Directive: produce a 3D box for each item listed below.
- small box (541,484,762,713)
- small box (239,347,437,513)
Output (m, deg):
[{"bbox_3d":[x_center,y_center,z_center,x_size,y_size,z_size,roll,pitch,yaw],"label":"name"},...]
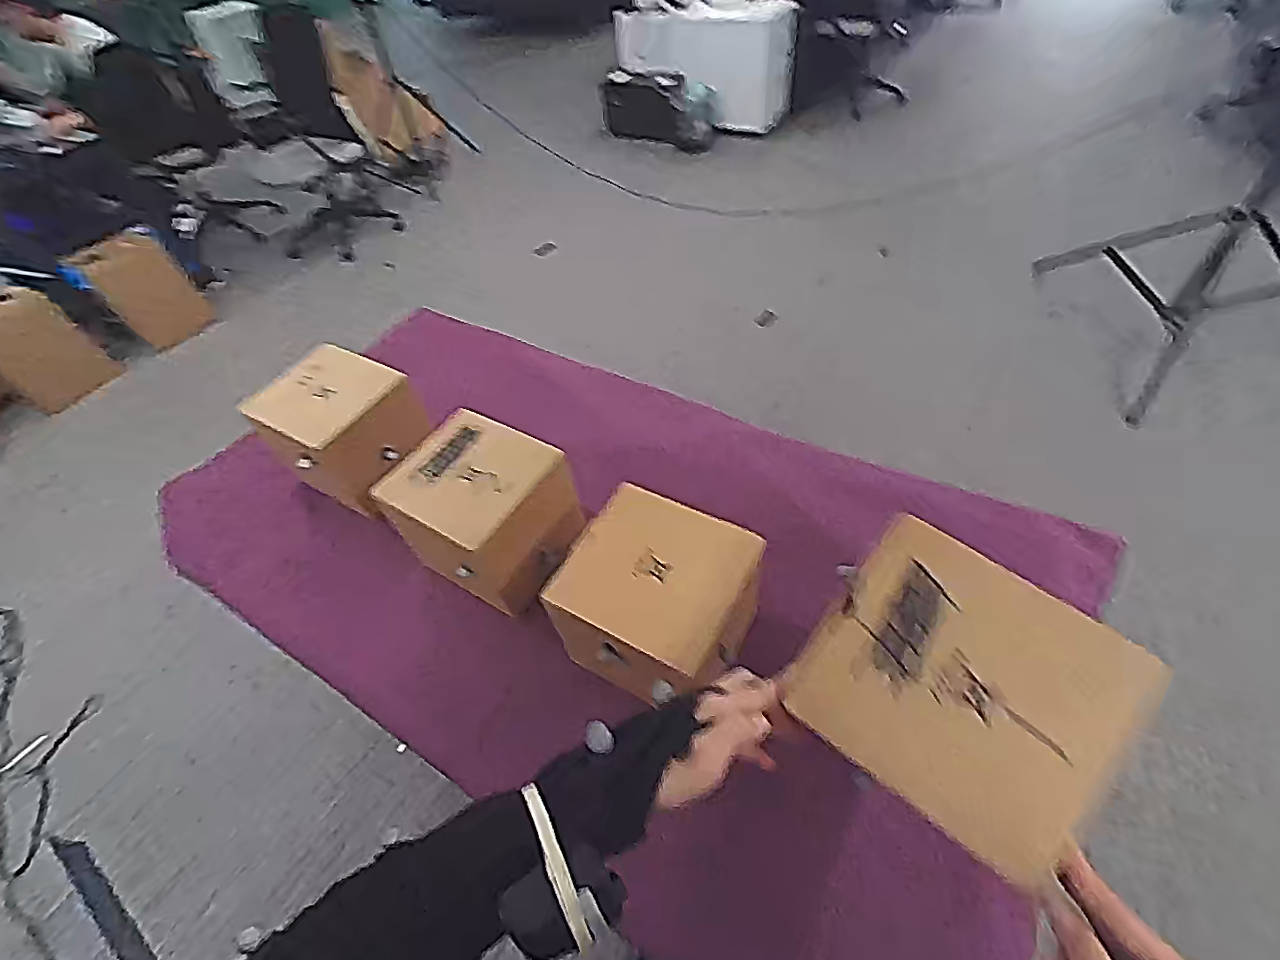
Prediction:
[{"bbox_3d":[0.022,0.139,0.614,0.179,0.176,0.168,21,56,23],"label":"small box"},{"bbox_3d":[-0.454,-0.074,0.844,0.179,0.176,0.168,22,56,20],"label":"small box"}]
